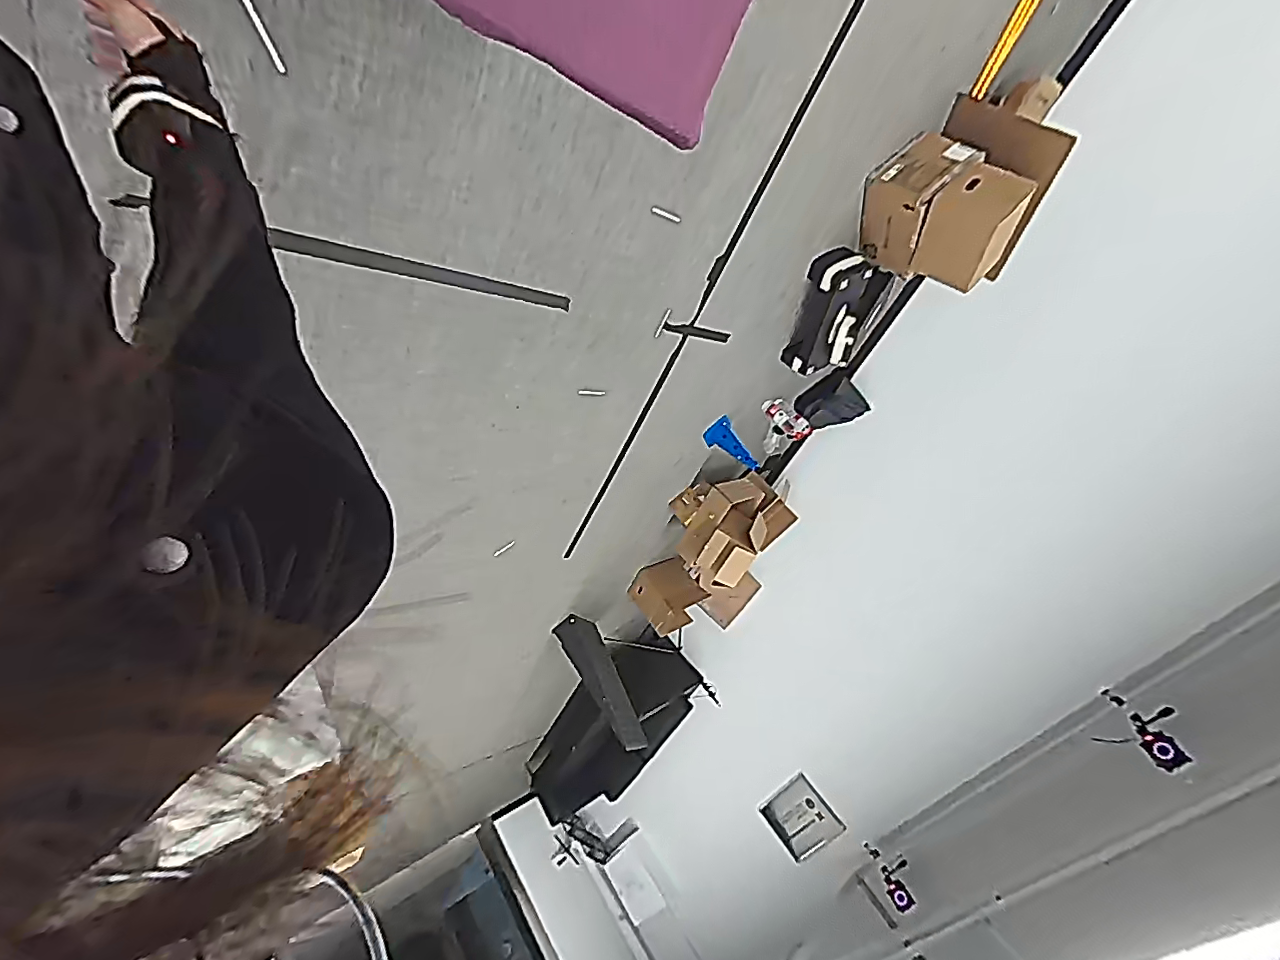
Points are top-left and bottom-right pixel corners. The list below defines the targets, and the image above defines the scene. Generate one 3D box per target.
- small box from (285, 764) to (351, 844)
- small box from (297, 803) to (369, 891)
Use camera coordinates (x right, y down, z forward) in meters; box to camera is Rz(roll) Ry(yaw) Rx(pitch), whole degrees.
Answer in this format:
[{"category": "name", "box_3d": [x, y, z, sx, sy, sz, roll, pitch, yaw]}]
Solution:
[{"category": "small box", "box_3d": [-1.201, 1.197, 2.011, 0.168, 0.176, 0.179, -6, 136, -46]}, {"category": "small box", "box_3d": [-1.103, 1.302, 1.930, 0.179, 0.176, 0.168, -6, 137, -47]}]
